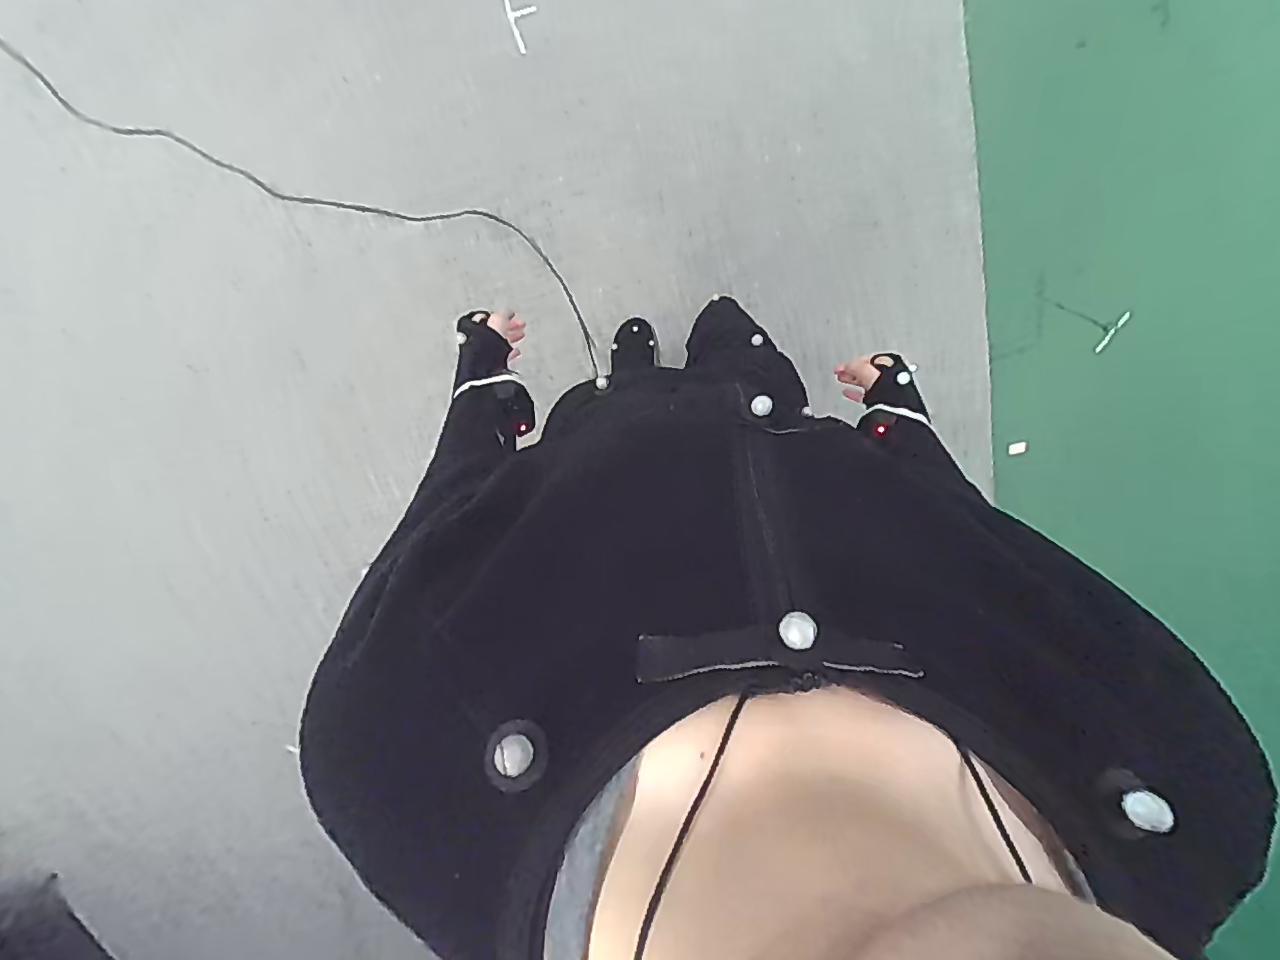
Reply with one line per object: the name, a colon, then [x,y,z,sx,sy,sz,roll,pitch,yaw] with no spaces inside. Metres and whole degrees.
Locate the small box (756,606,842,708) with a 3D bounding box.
small box: [0.400,0.443,1.360,0.179,0.176,0.168,-17,106,3]

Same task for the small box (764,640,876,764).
small box: [0.392,0.480,1.201,0.168,0.176,0.179,-20,106,5]
